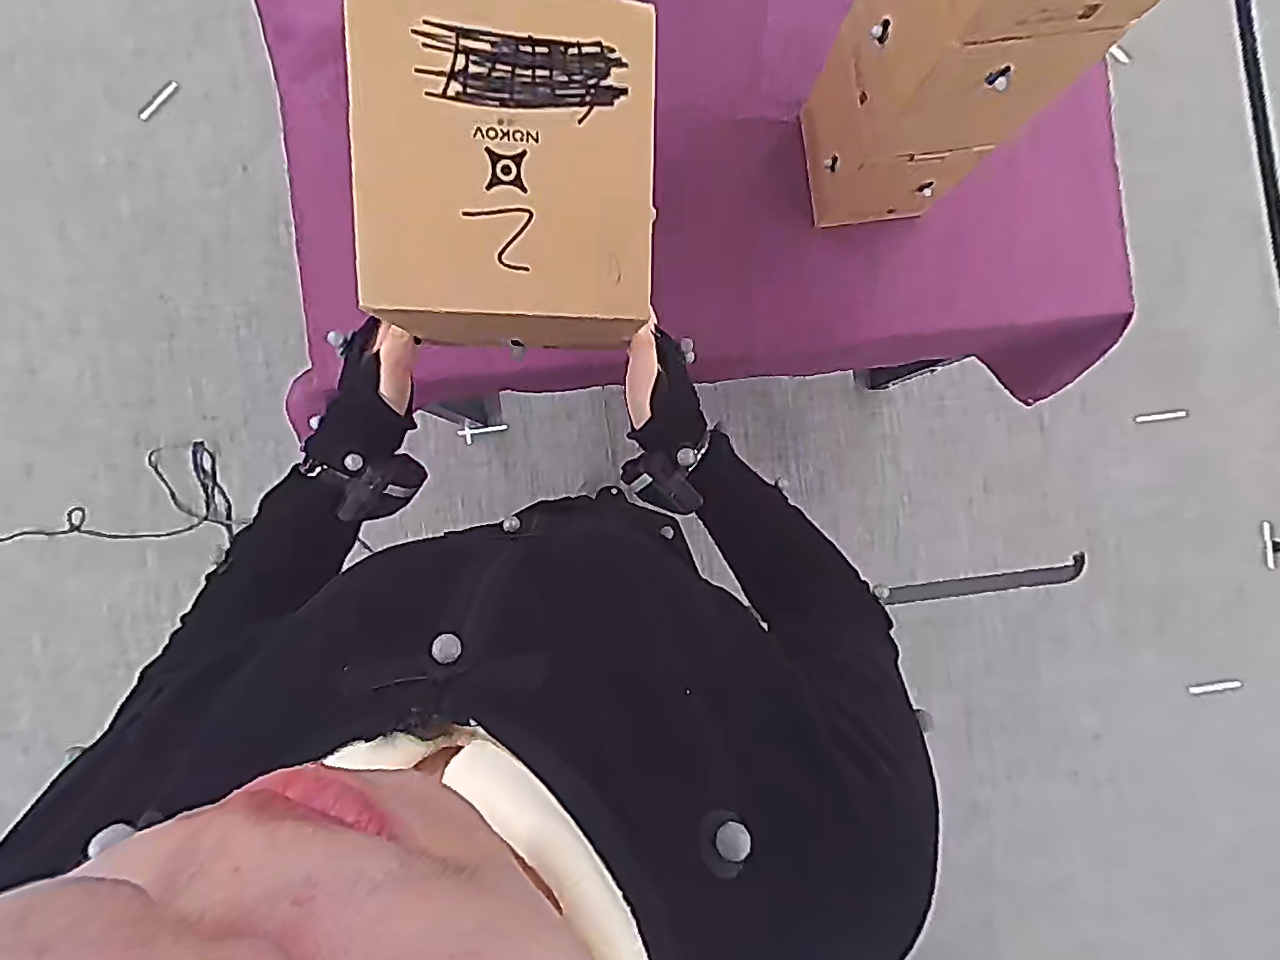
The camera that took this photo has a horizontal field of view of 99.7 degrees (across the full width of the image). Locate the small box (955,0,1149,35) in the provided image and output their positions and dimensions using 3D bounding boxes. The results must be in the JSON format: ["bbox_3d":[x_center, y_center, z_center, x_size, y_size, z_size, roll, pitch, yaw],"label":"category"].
[{"bbox_3d":[0.347,-0.480,0.392,0.168,0.176,0.179,-8,90,-2],"label":"small box"}]

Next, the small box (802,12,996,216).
[{"bbox_3d":[0.330,-0.474,0.720,0.168,0.176,0.179,-7,89,-3],"label":"small box"}]

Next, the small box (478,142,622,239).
[{"bbox_3d":[-0.118,-0.442,0.703,0.168,0.176,0.179,-8,91,-3],"label":"small box"}]

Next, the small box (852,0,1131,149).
[{"bbox_3d":[0.336,-0.472,0.556,0.179,0.176,0.168,-8,91,-3],"label":"small box"}]

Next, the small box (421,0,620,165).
[{"bbox_3d":[-0.112,-0.444,0.539,0.168,0.176,0.179,-10,90,-3],"label":"small box"}]
